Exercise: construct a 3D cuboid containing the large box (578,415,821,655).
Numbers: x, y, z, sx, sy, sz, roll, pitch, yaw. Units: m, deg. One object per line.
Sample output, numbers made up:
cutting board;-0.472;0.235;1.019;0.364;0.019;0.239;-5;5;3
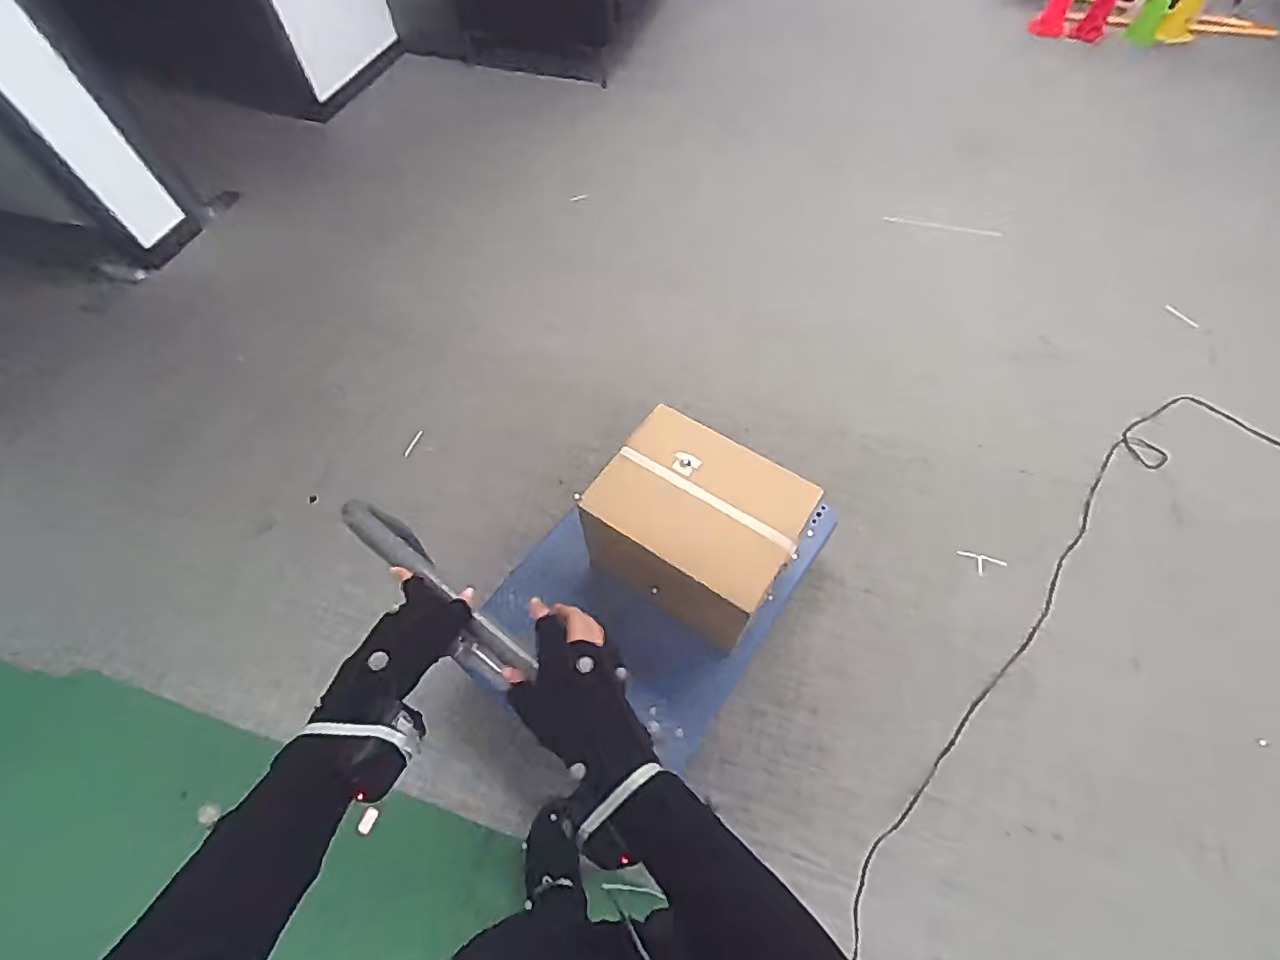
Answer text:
large box;0.129;0.127;1.220;0.408;0.320;0.320;30;63;19
